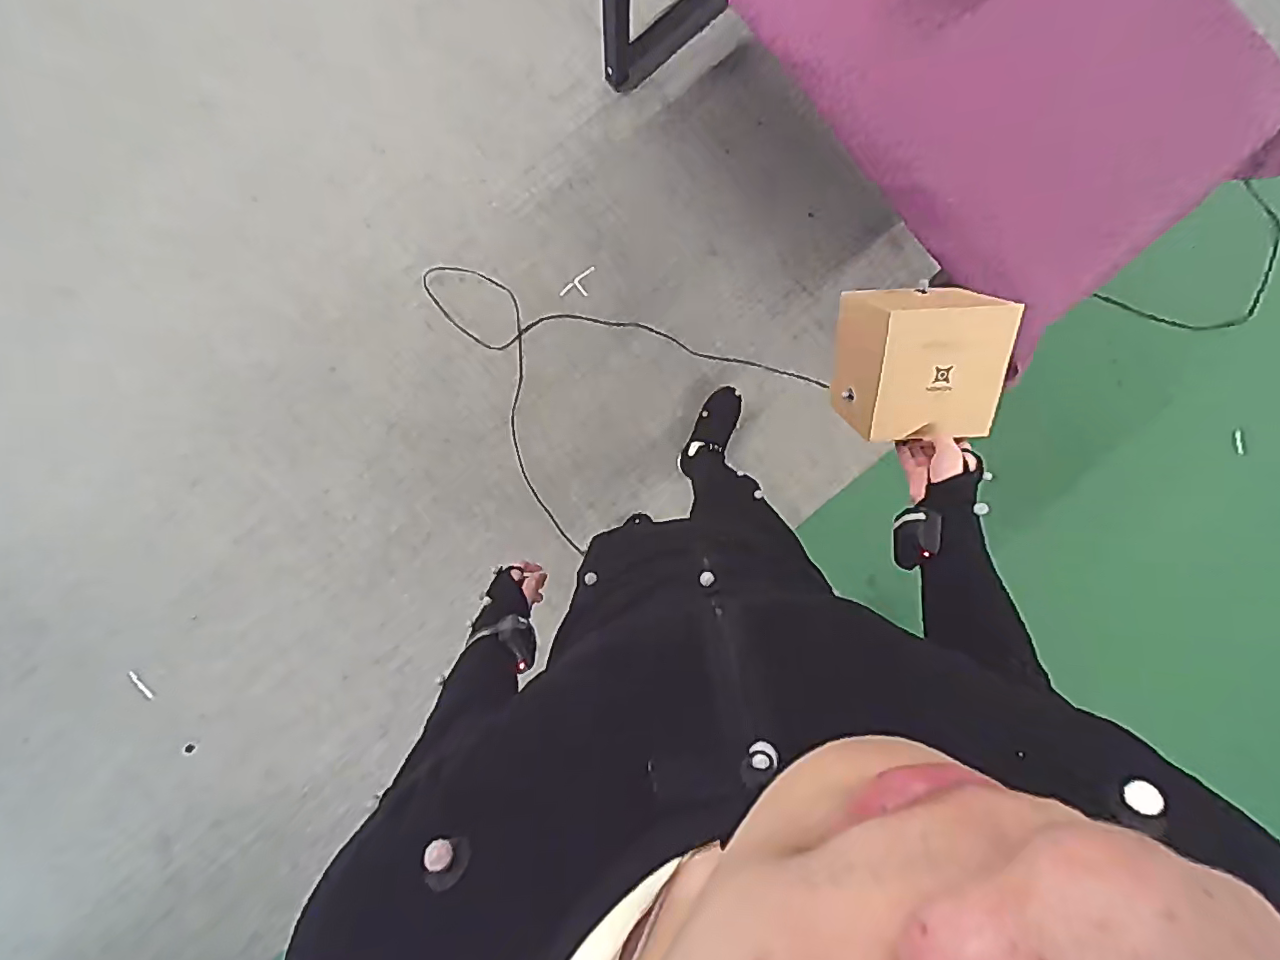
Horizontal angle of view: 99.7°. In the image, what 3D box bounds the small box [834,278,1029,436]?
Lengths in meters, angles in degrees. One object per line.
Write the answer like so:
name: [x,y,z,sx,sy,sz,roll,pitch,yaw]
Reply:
small box: [0.383,-0.175,0.750,0.168,0.176,0.179,-3,117,0]
